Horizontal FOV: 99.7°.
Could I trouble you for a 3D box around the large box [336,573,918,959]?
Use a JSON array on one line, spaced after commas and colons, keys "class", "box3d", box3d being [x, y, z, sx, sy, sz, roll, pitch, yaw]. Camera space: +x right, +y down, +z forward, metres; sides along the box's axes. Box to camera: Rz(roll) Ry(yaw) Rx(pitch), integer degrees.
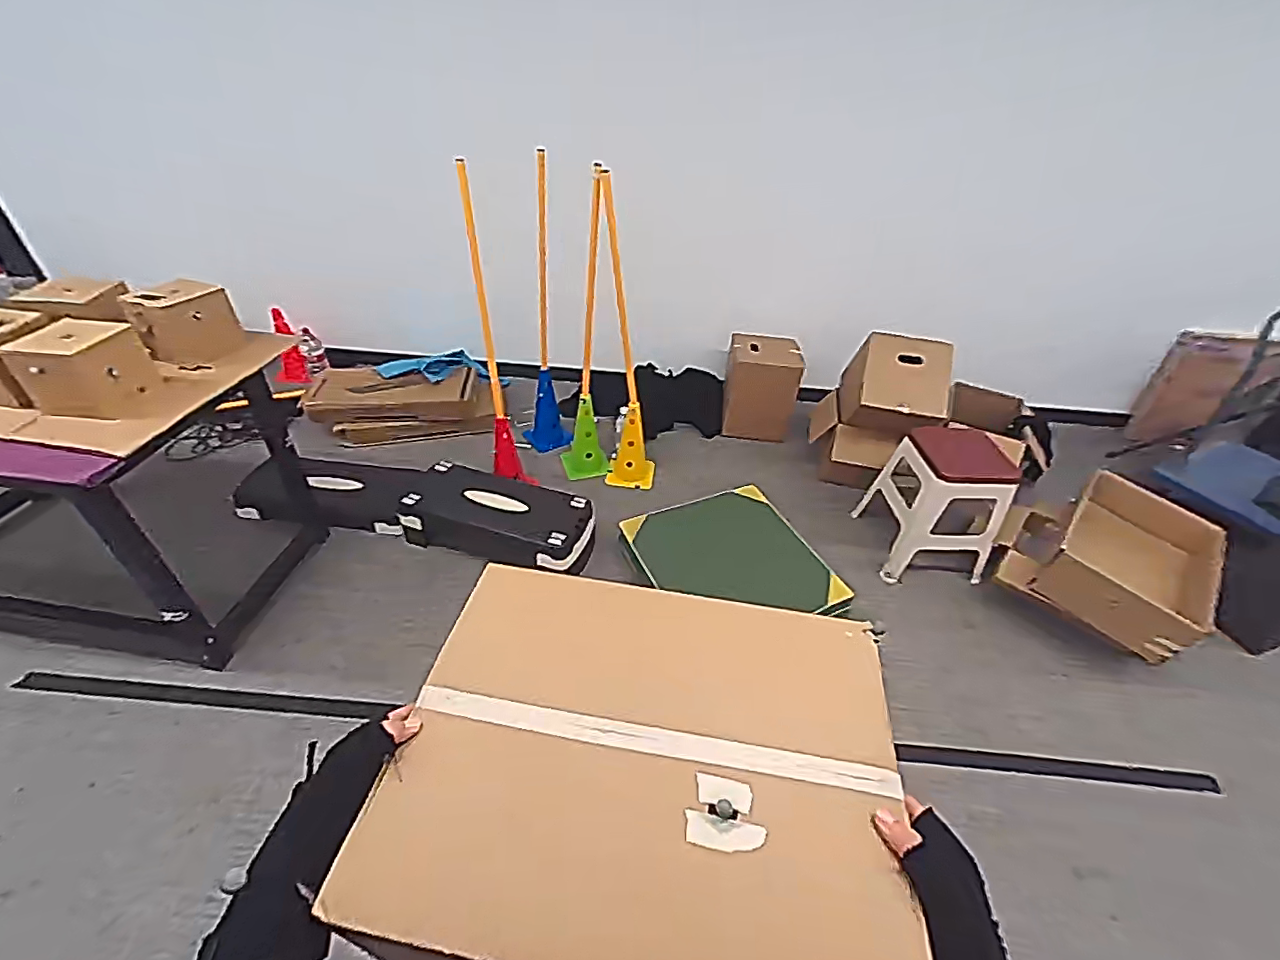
[{"class": "large box", "box3d": [0.001, 0.336, 0.559, 0.408, 0.320, 0.320, 8, 41, 7]}]
